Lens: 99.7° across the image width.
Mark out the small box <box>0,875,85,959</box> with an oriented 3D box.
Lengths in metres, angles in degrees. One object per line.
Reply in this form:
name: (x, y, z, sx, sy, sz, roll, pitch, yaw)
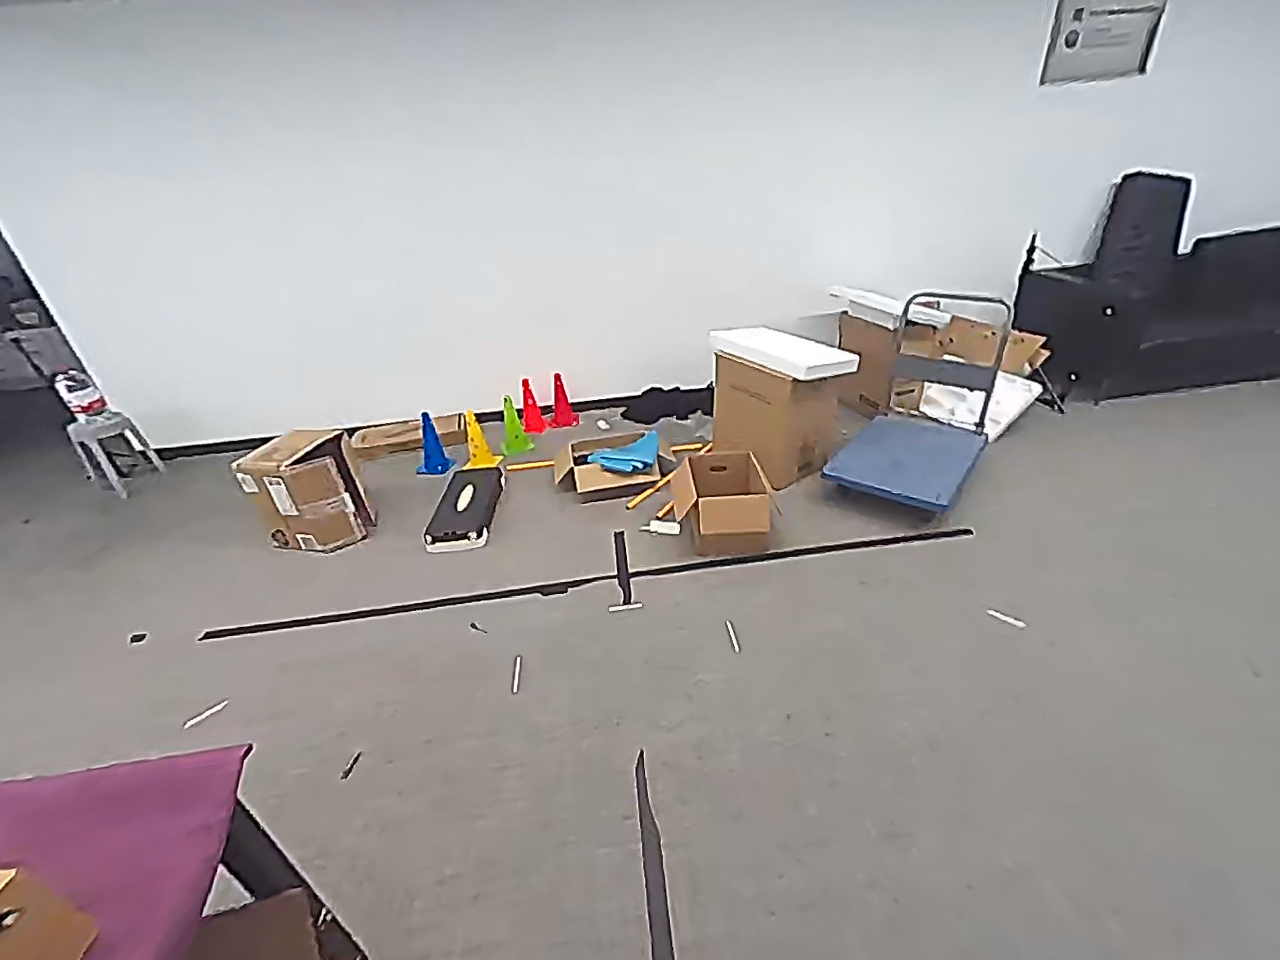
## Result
small box: (-0.792, 0.575, 0.591, 0.168, 0.176, 0.179, -5, 29, 1)
